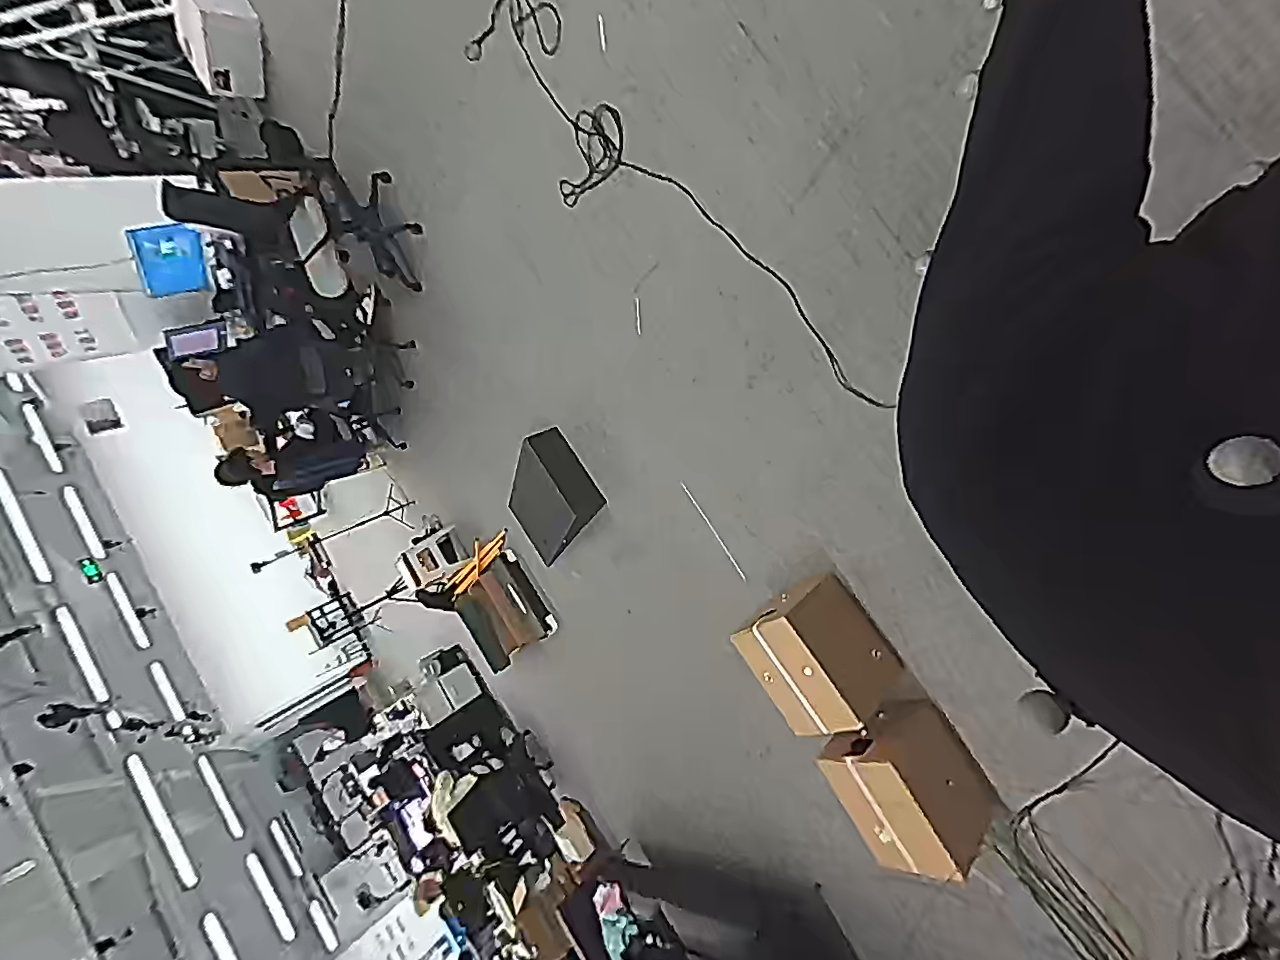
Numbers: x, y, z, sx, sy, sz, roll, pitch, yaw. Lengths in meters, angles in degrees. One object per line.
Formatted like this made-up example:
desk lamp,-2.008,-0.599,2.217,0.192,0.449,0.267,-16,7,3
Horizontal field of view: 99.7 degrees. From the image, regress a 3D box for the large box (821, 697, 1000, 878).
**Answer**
large box,0.897,0.999,1.804,0.408,0.320,0.320,57,143,4
